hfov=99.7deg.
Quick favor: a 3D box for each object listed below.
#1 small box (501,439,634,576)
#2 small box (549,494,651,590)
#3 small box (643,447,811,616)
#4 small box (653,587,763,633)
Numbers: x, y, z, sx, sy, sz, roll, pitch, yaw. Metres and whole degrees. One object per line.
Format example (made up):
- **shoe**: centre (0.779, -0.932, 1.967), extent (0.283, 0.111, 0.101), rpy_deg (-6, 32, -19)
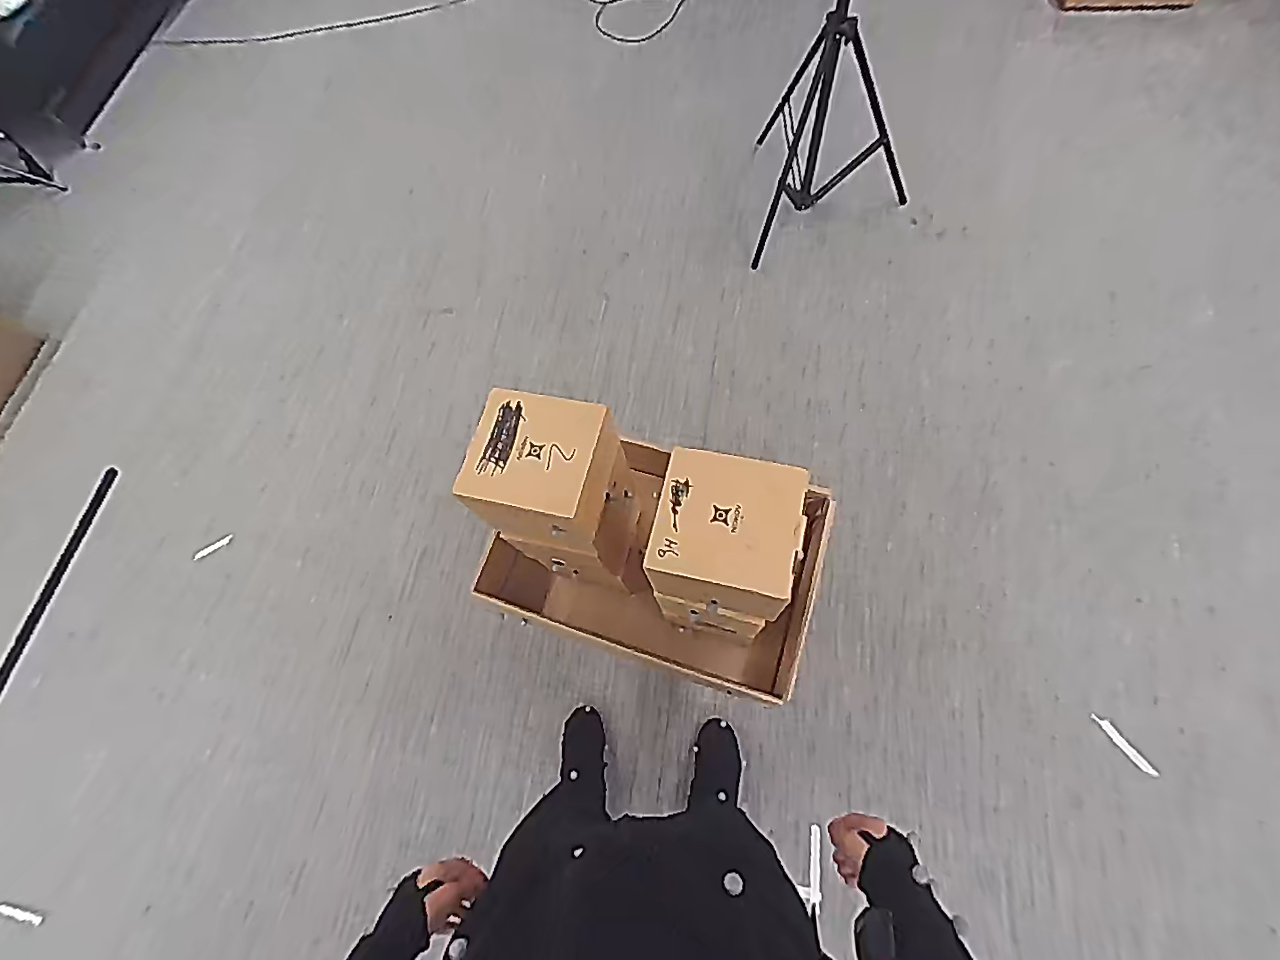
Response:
- **small box**: centre (-0.114, 0.052, 0.941), extent (0.168, 0.176, 0.179), rpy_deg (10, 70, 12)
- **small box**: centre (-0.086, 0.114, 1.090), extent (0.179, 0.176, 0.168), rpy_deg (13, 71, 11)
- **small box**: centre (0.115, 0.077, 0.728), extent (0.179, 0.176, 0.168), rpy_deg (12, 70, 11)
- **small box**: centre (0.130, 0.139, 0.879), extent (0.168, 0.176, 0.179), rpy_deg (14, 70, 12)
